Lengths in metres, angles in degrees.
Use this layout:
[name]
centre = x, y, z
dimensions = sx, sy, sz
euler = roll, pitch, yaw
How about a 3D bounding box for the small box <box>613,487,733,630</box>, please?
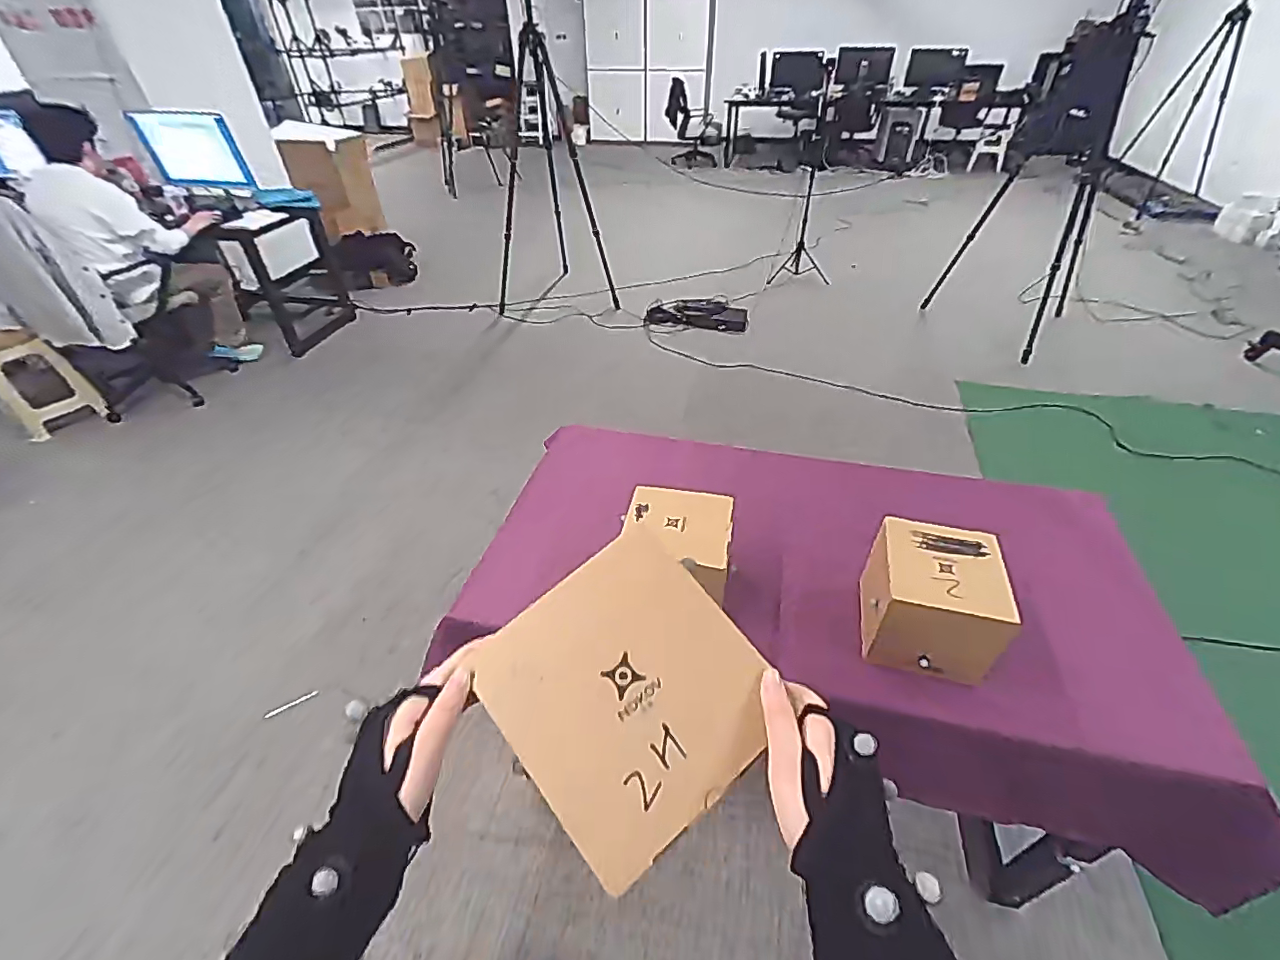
[small box]
centre = 0.058, 0.137, 0.937
dimensions = 0.179, 0.176, 0.168
euler = 8, 41, 9
